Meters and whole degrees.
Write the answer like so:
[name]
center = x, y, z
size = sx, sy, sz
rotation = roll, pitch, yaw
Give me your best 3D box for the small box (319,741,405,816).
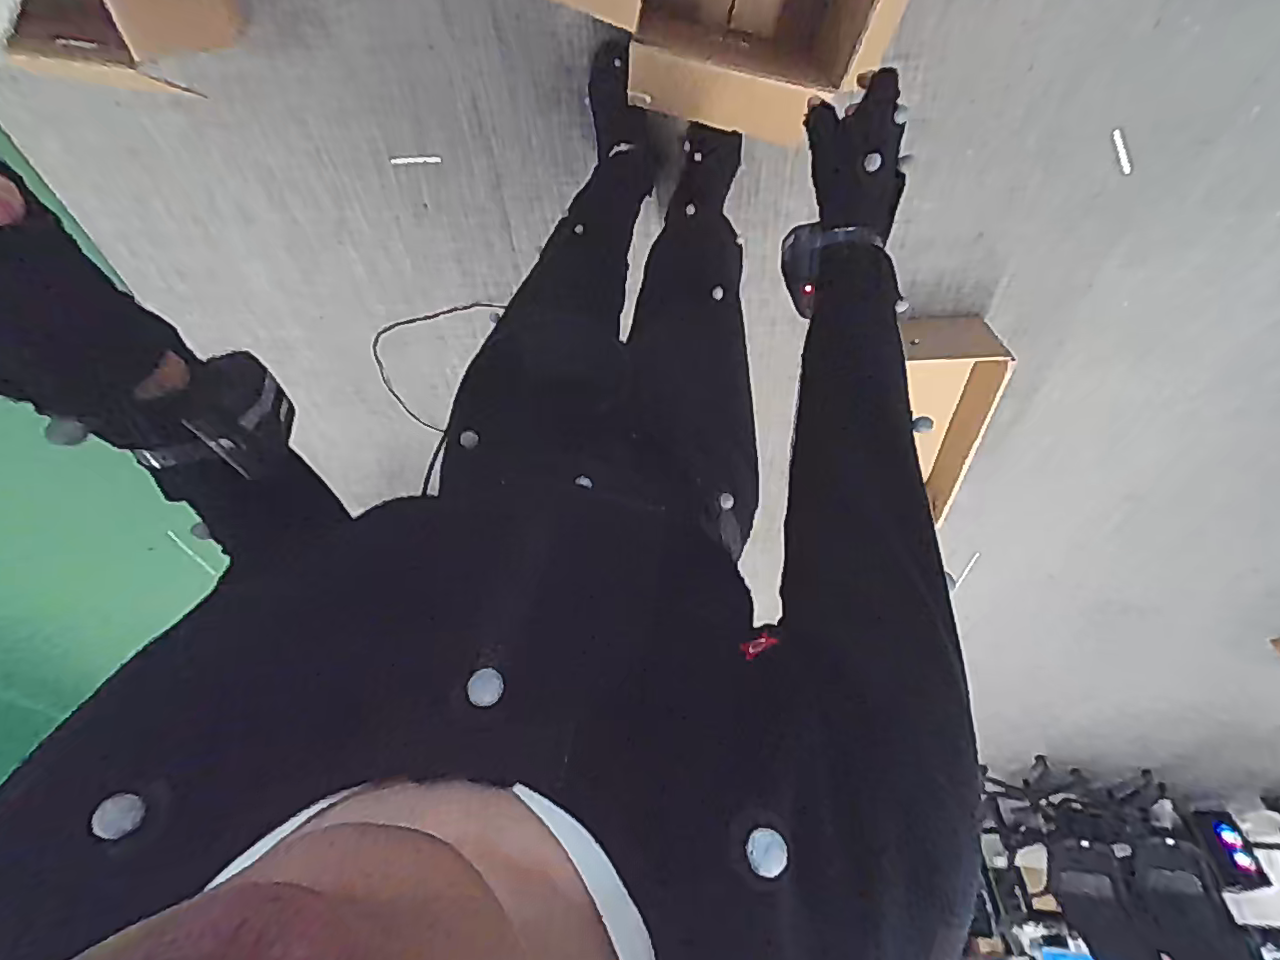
[small box]
center = -0.865, 0.936, 1.699
size = 0.168, 0.176, 0.179
rotation = 6, 136, -1
